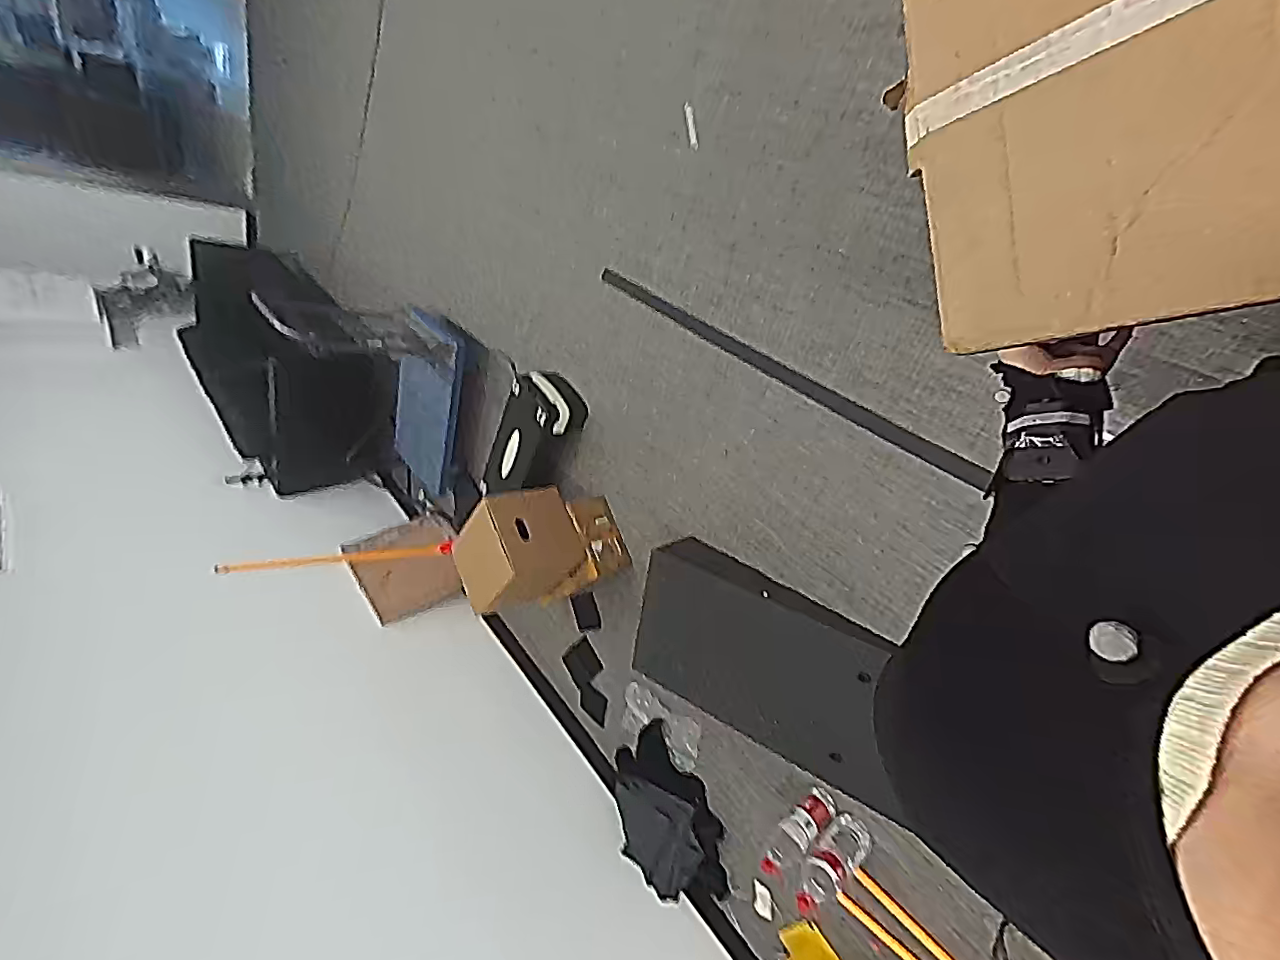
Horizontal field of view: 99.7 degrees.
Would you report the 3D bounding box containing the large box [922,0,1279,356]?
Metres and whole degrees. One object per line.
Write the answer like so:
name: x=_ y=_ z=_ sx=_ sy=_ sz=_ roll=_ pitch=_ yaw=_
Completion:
large box: x=0.434 y=-0.272 z=0.306 sx=0.408 sy=0.320 sz=0.320 roll=-2 pitch=102 yaw=49
